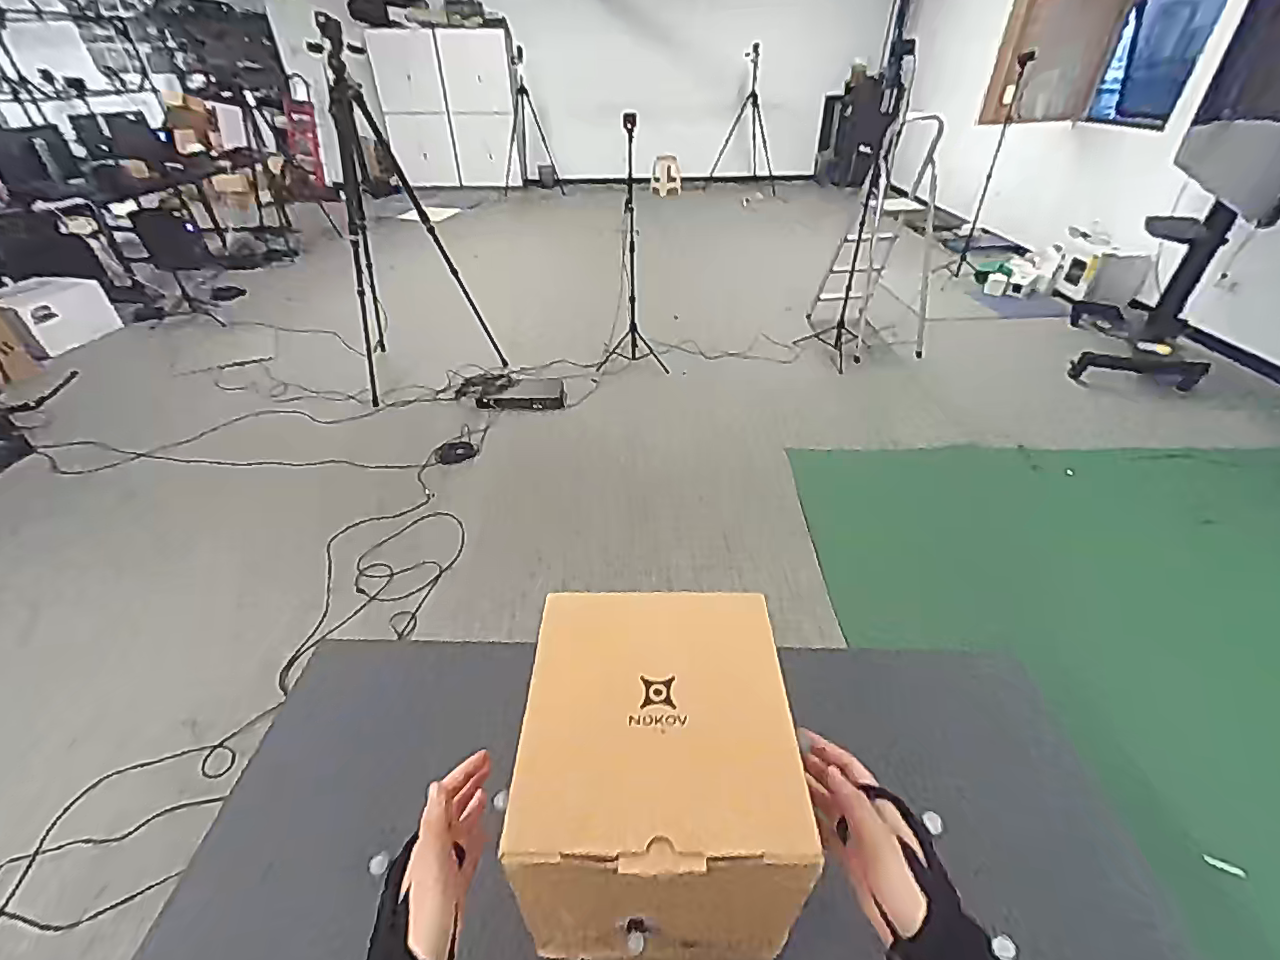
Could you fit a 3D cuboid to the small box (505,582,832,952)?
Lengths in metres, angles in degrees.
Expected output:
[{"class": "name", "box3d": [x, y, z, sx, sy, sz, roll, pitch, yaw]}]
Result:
[{"class": "small box", "box3d": [0.013, 0.193, 0.379, 0.168, 0.176, 0.179, 0, 36, 0]}]
